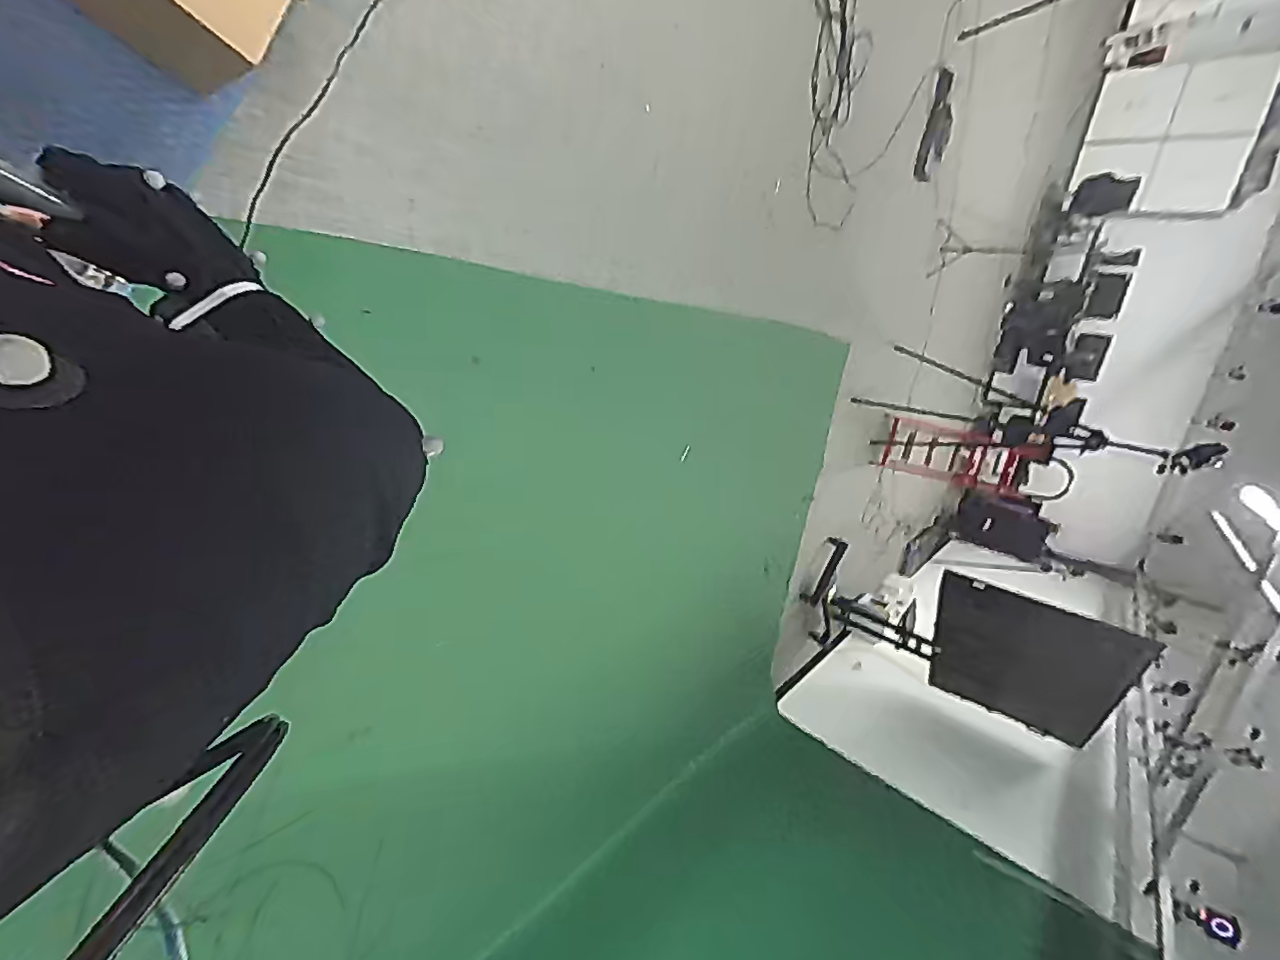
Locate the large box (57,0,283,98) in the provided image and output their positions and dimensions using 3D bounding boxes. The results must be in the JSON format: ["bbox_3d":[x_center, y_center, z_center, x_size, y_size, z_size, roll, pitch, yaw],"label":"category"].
[{"bbox_3d":[-0.692,-0.798,0.686,0.408,0.320,0.320,27,85,-51],"label":"large box"}]
